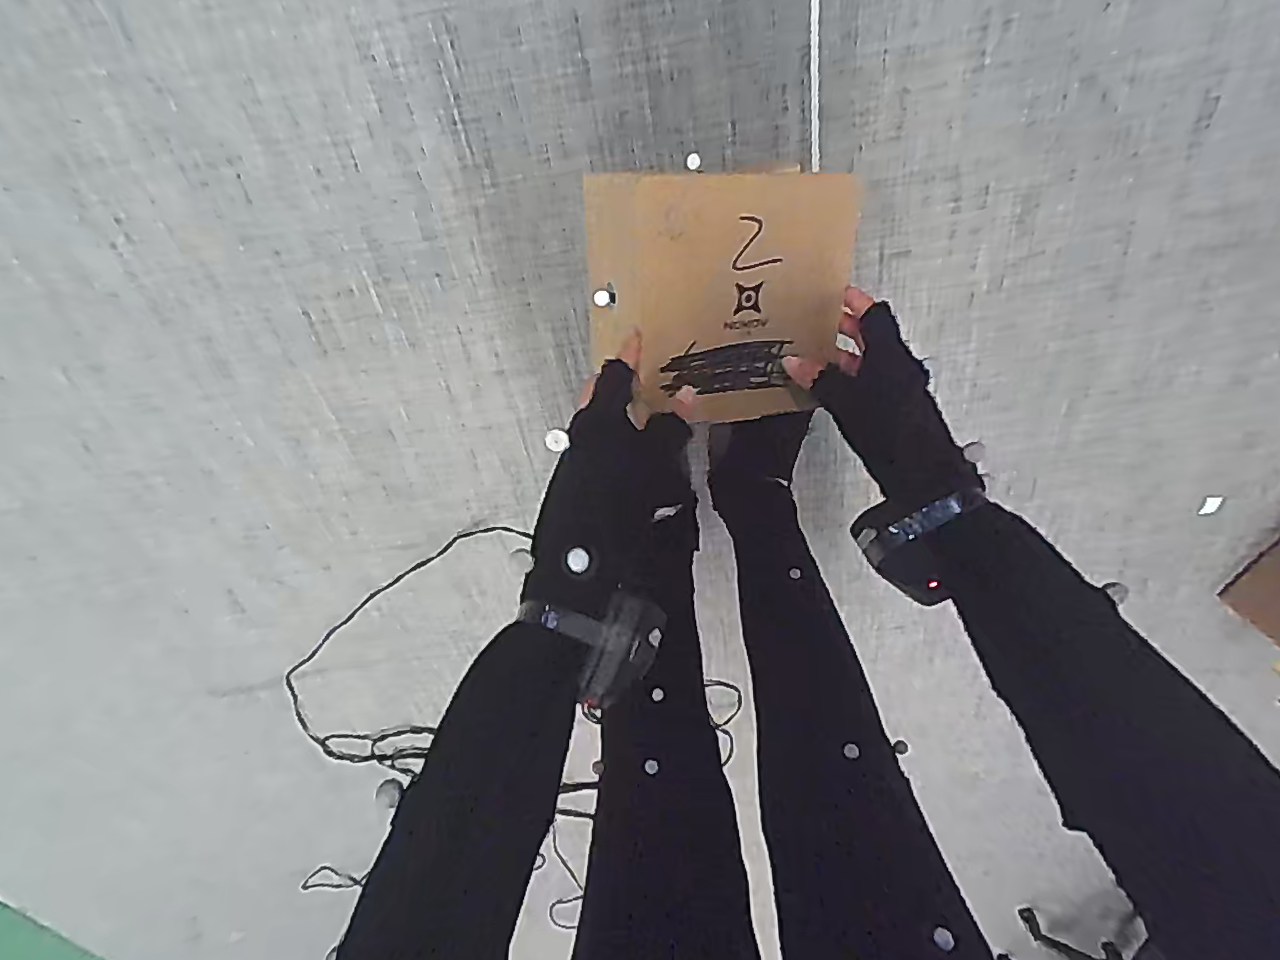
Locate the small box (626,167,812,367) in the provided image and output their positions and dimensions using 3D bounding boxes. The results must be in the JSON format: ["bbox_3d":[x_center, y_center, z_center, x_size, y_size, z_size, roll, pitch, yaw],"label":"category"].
[{"bbox_3d":[0.087,-0.251,0.624,0.179,0.176,0.168,-10,120,8],"label":"small box"}]
